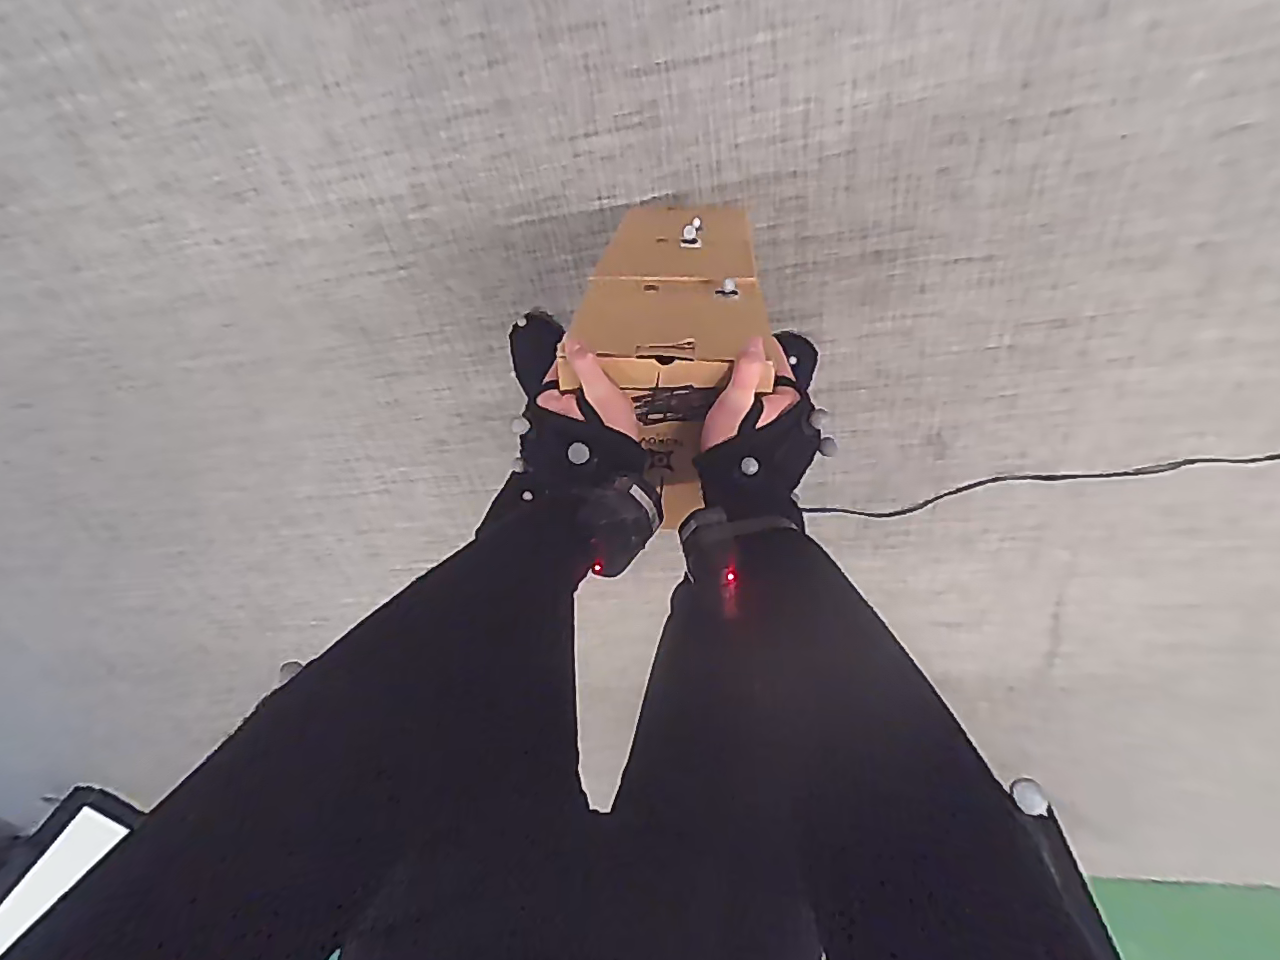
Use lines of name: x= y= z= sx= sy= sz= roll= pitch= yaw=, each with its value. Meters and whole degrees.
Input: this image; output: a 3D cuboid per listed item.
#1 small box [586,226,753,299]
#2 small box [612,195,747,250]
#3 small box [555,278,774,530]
small box: x=0.038 y=-0.182 z=0.631 sx=0.168 sy=0.176 sz=0.179 roll=2 pitch=128 yaw=6
small box: x=0.057 y=-0.281 z=0.756 sx=0.168 sy=0.176 sz=0.179 roll=4 pitch=129 yaw=6
small box: x=0.023 y=-0.077 z=0.509 sx=0.168 sy=0.176 sz=0.179 roll=4 pitch=130 yaw=5
